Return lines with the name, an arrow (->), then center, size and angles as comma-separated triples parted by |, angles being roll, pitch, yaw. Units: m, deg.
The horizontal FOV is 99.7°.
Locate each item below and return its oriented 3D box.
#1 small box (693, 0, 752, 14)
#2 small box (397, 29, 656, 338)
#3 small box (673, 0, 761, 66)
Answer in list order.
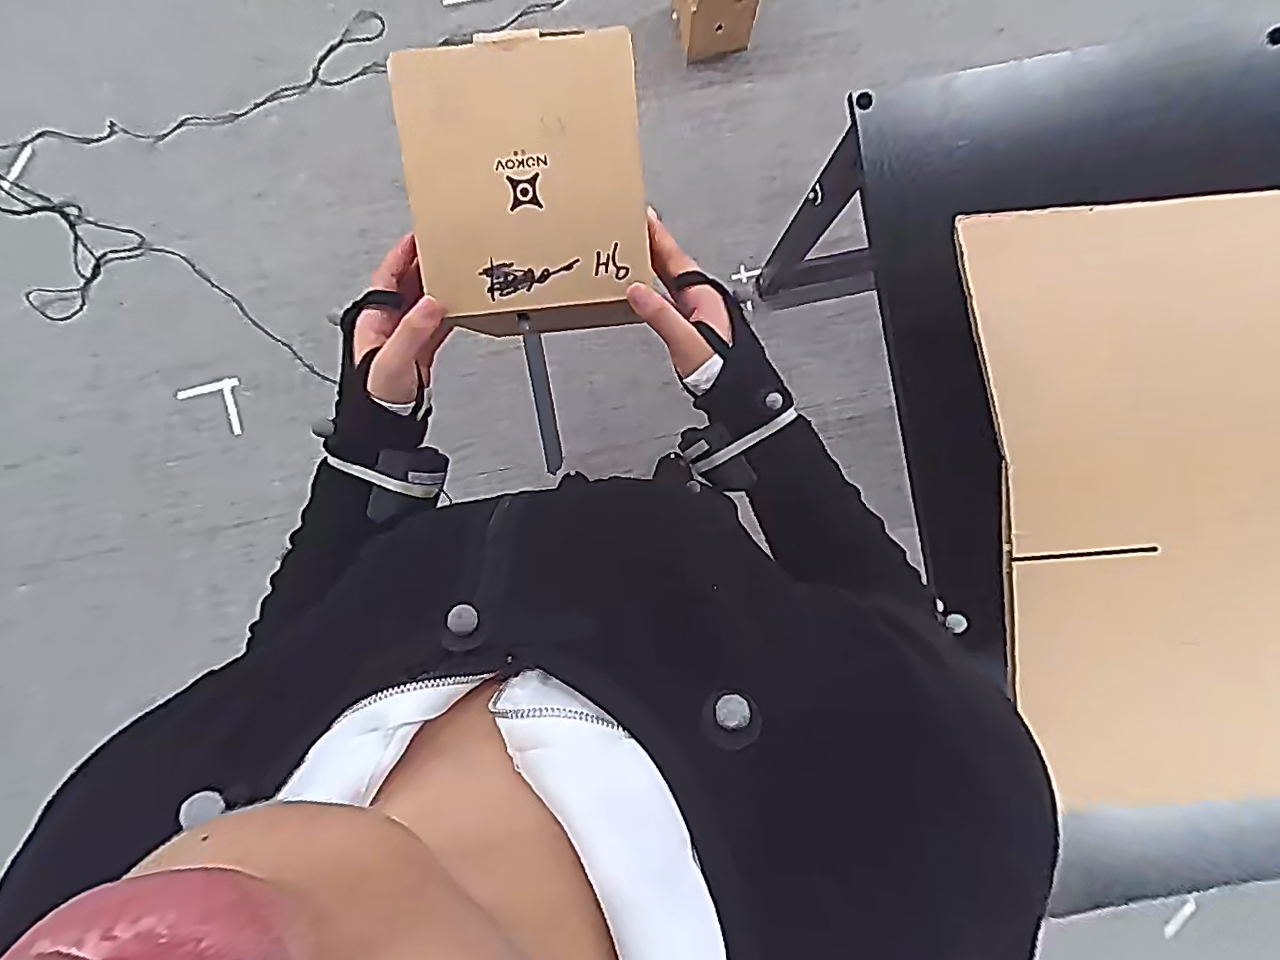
small box -> 0.196, -1.212, 1.220 | 0.179, 0.176, 0.168 | -18, 92, -1
small box -> -0.077, -0.224, 0.455 | 0.168, 0.176, 0.179 | -5, 99, 1
small box -> 0.191, -1.214, 1.383 | 0.179, 0.176, 0.168 | -14, 91, 1
